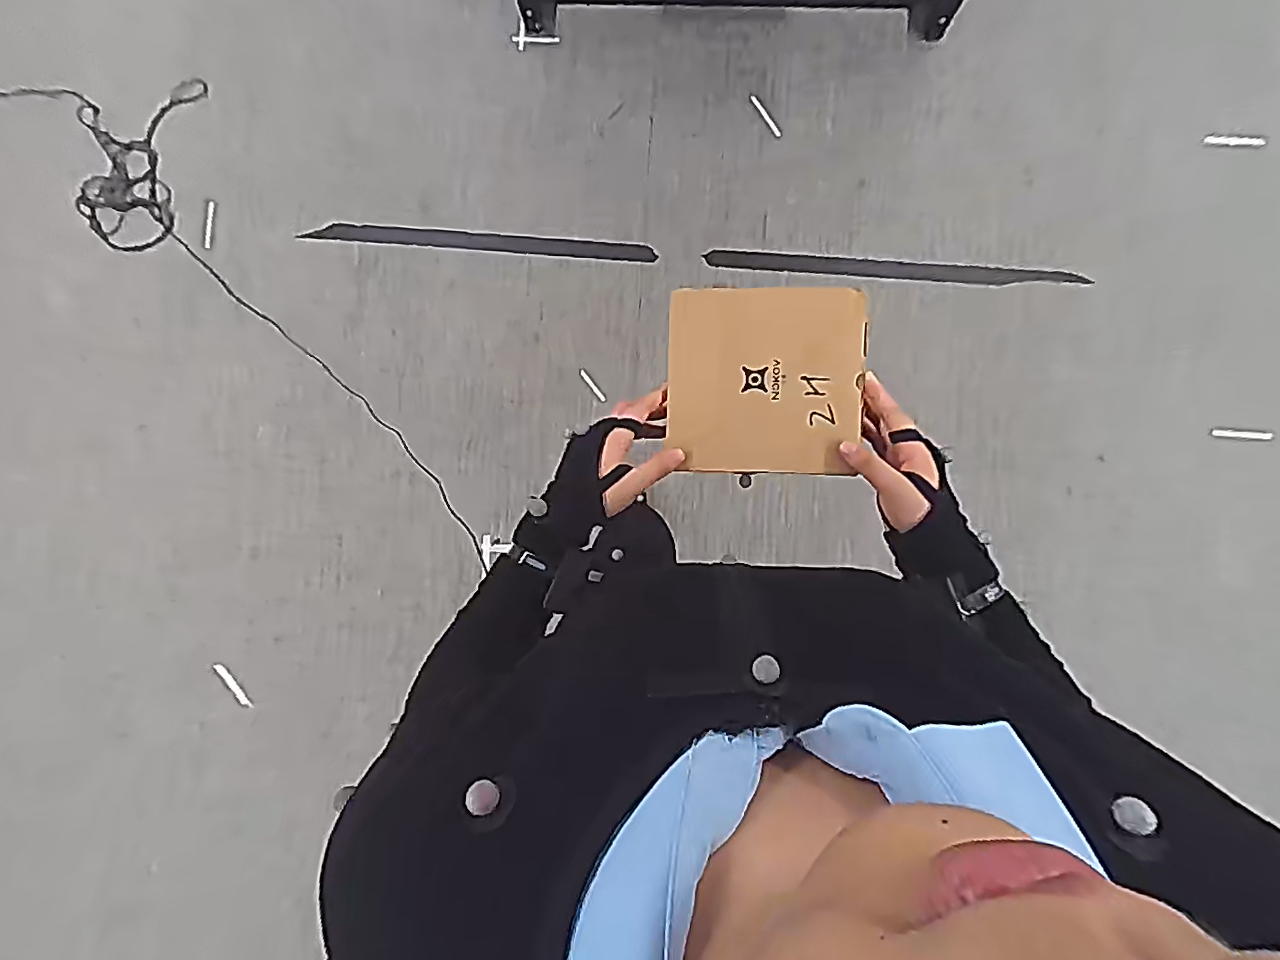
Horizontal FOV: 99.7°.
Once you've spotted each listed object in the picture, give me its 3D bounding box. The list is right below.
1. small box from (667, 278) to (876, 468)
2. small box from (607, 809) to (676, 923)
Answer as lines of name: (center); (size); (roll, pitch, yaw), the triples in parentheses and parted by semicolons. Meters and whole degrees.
small box: (0.123, -0.098, 0.554); (0.179, 0.176, 0.168); (2, 93, 6)
small box: (0.007, 0.975, 1.376); (0.168, 0.176, 0.179); (-2, 87, 2)
